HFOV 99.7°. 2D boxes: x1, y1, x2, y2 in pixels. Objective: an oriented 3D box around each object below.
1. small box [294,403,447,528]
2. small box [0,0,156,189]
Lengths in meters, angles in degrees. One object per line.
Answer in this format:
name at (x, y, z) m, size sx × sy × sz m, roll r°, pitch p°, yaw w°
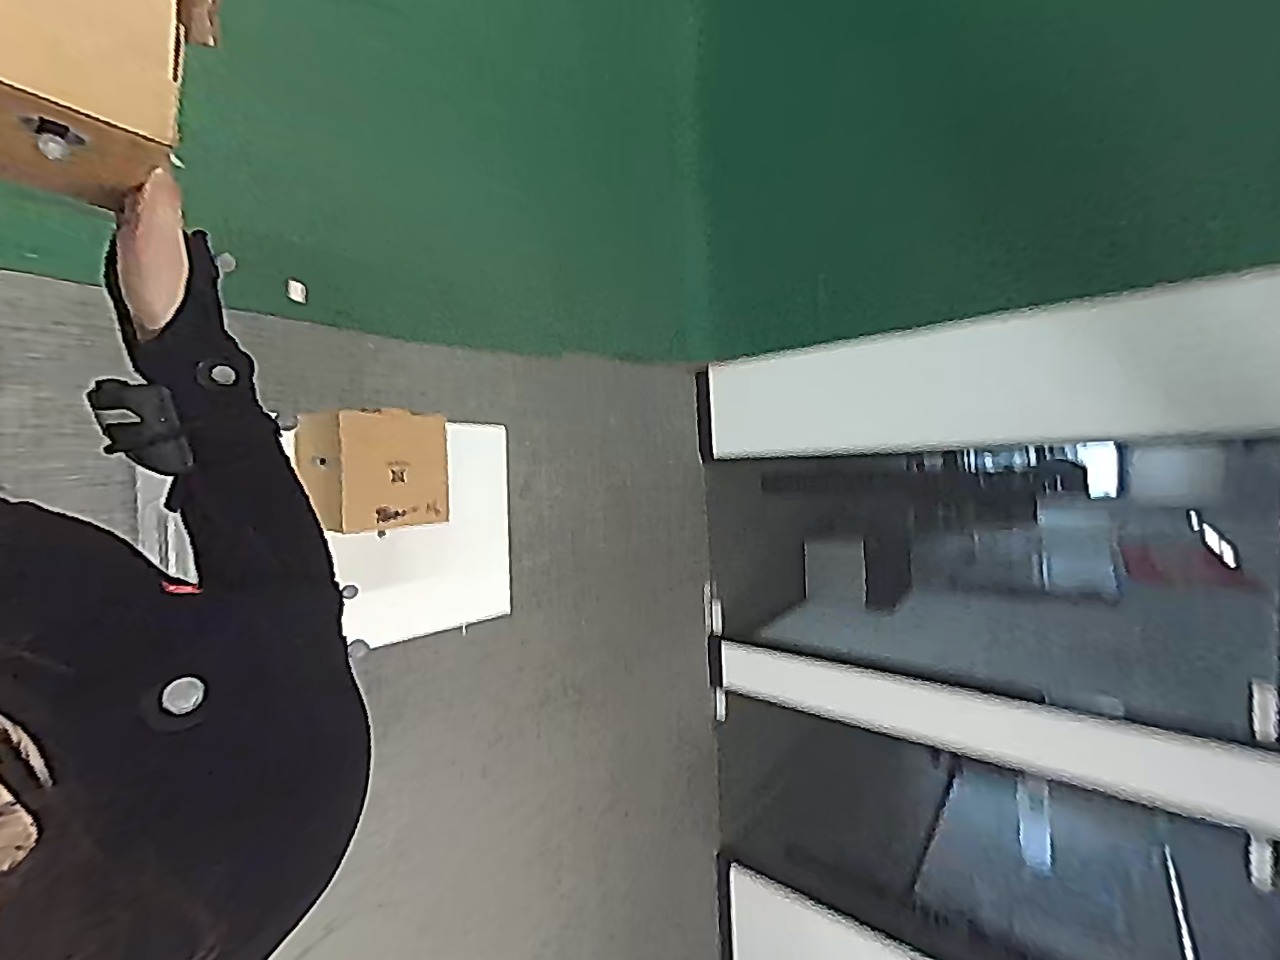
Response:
small box at (-0.425, -0.021, 0.854) m, size 0.168 × 0.176 × 0.179 m, roll -3°, pitch 93°, yaw -51°
small box at (-0.344, -0.252, 0.235) m, size 0.179 × 0.176 × 0.168 m, roll -2°, pitch 99°, yaw -53°
